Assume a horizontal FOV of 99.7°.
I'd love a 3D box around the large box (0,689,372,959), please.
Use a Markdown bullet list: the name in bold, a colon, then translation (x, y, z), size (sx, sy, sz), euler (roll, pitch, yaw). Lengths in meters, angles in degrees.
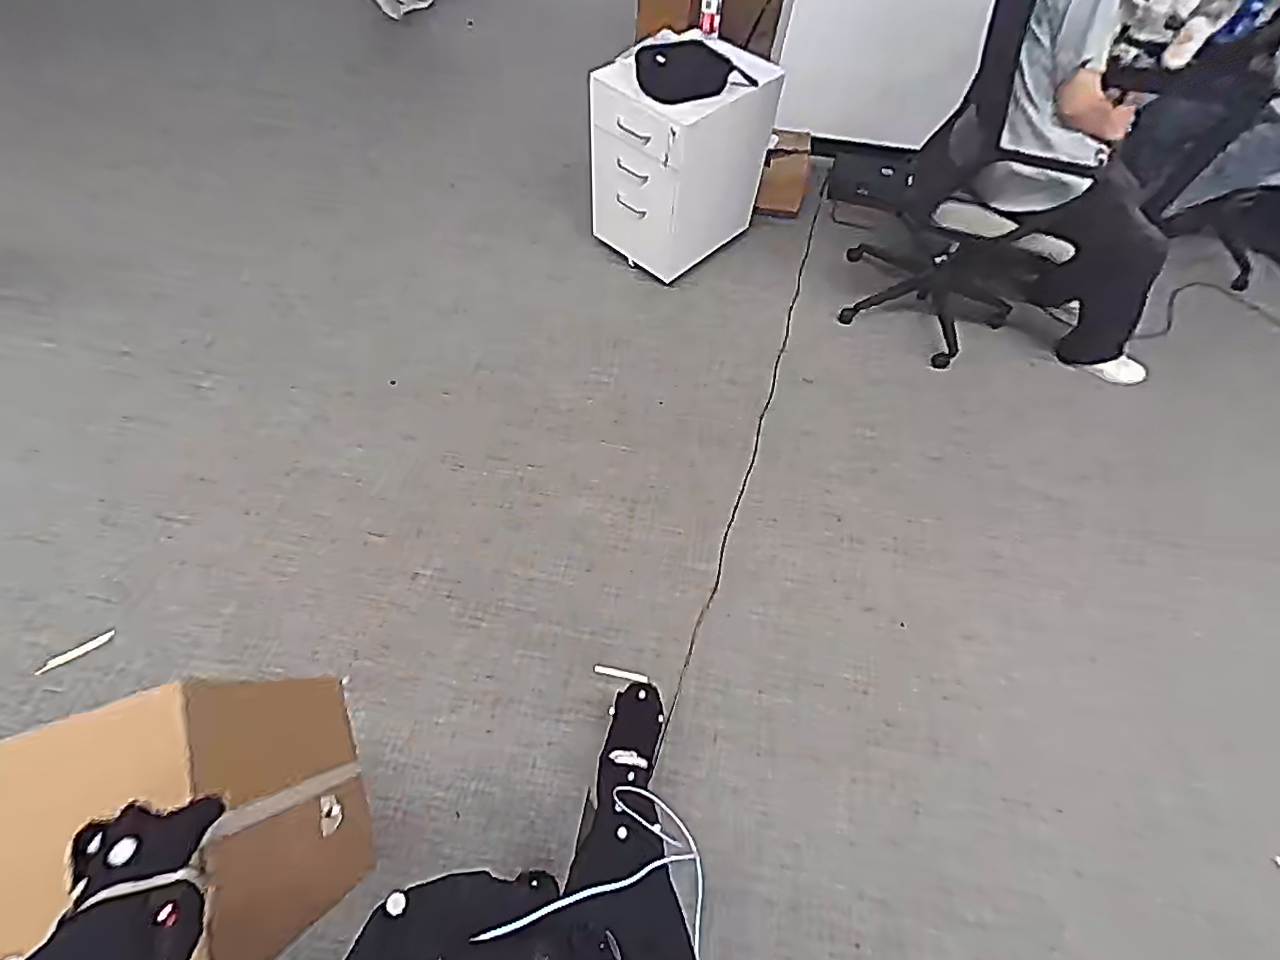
- **large box**: translation (-0.617, 0.493, 0.710), size (0.320, 0.408, 0.320), euler (-19, 73, -11)
